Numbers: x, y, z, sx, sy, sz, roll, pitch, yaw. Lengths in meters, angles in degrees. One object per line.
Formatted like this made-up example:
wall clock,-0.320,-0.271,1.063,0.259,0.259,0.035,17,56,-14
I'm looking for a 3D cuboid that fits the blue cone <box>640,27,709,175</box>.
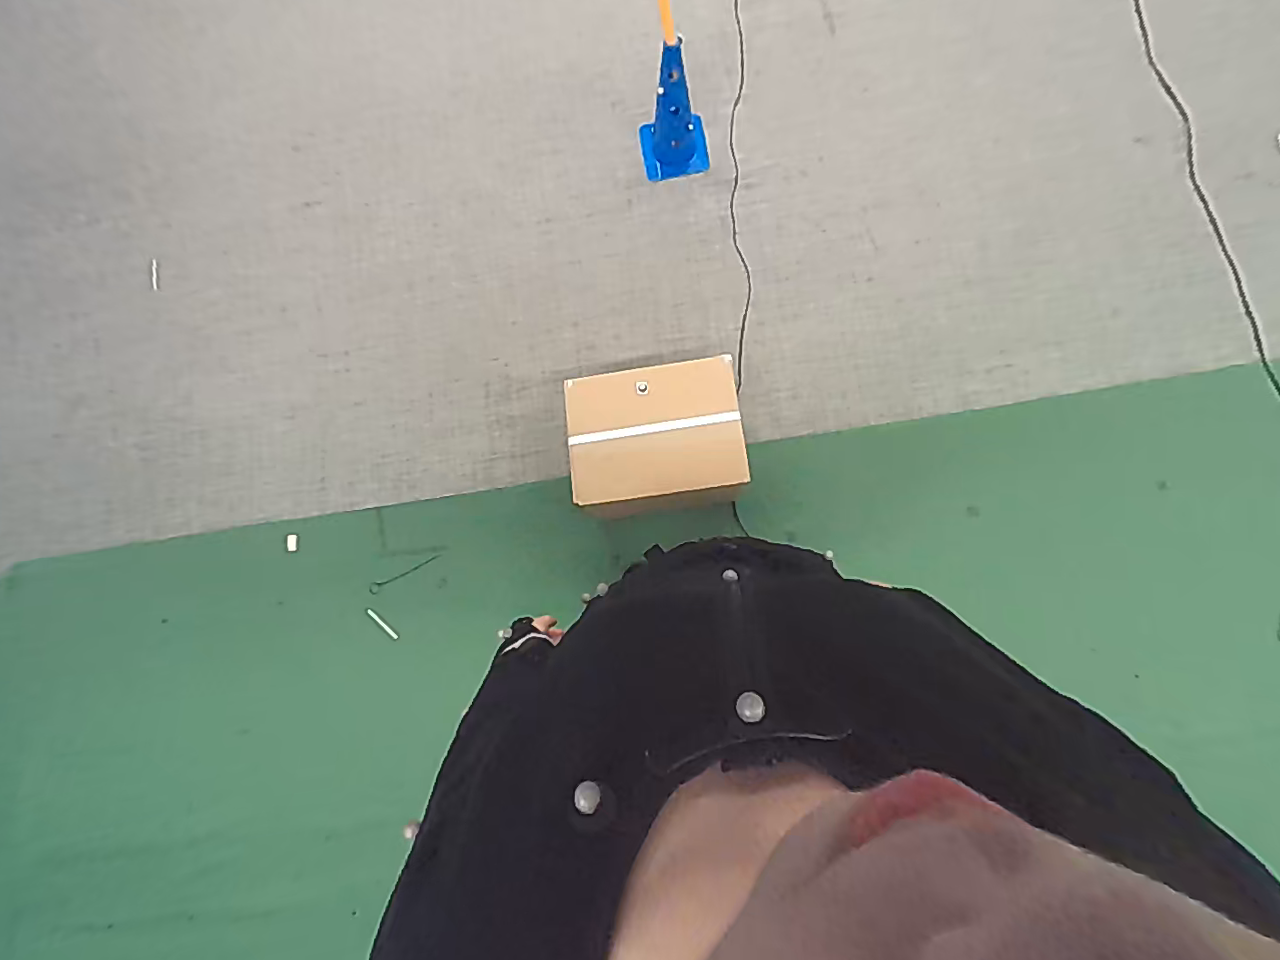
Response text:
blue cone,0.090,-1.061,1.507,0.193,0.380,0.192,-12,81,4
